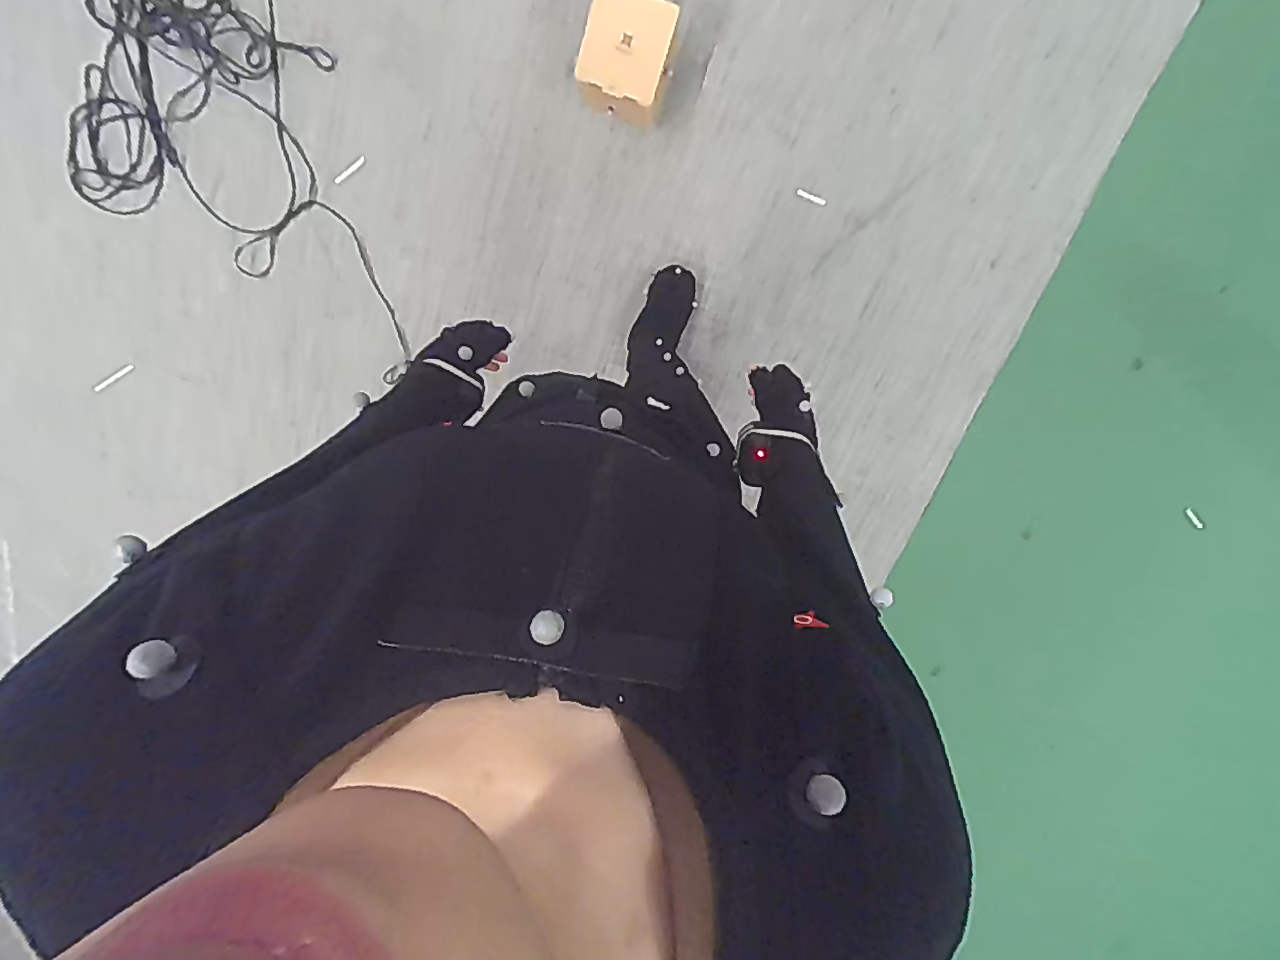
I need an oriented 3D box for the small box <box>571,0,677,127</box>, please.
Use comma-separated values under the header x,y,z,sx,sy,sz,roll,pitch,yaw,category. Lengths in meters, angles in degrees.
x,y,z,sx,sy,sz,roll,pitch,yaw,category
-0.031,-0.878,1.124,0.168,0.176,0.179,19,108,-3,small box
